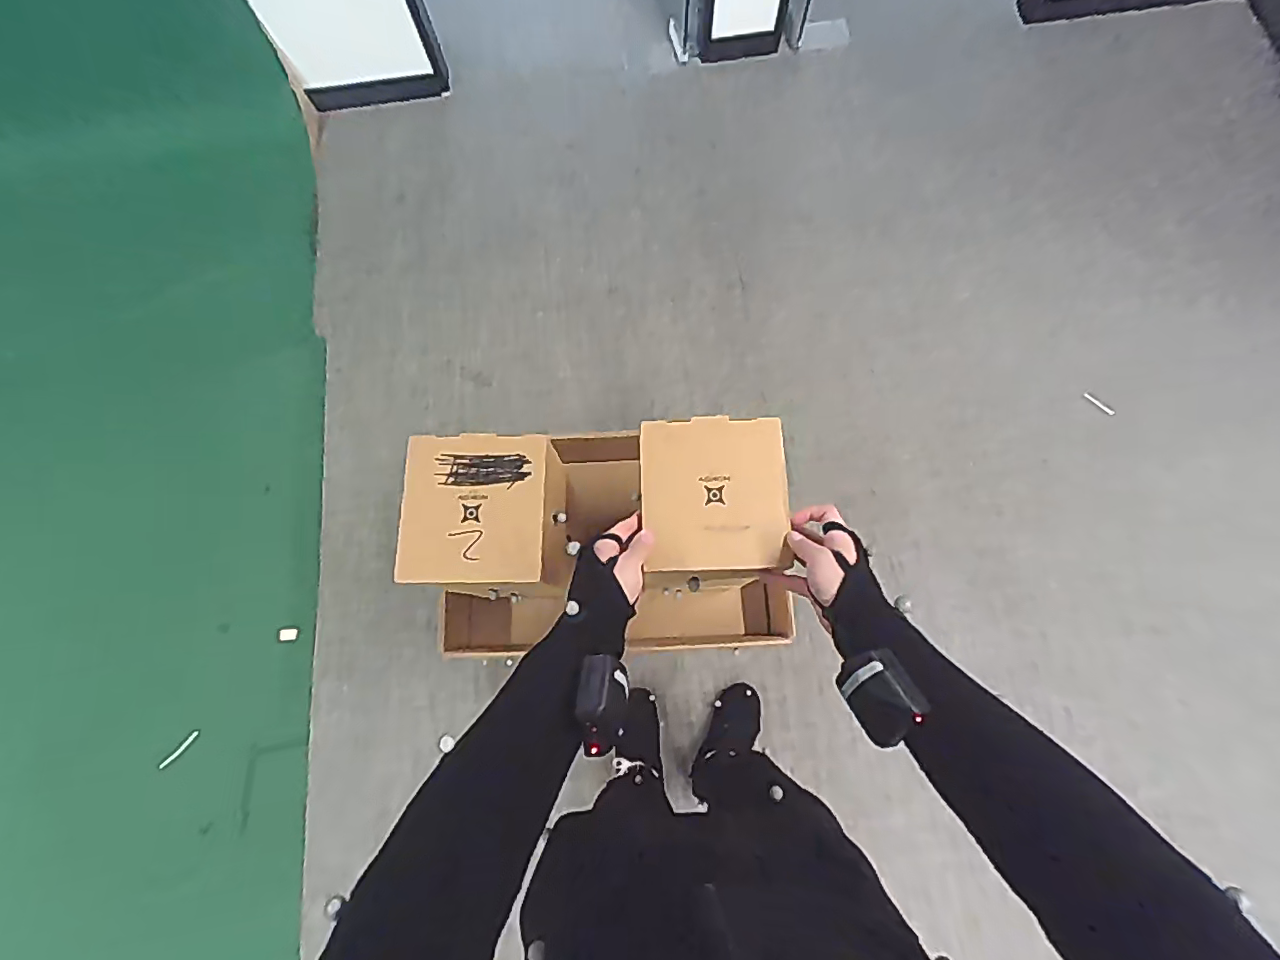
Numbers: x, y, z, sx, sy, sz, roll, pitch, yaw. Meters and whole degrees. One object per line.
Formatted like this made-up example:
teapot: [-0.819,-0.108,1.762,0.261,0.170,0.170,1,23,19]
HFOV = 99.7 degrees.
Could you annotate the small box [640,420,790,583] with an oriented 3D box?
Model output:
small box: [0.083,0.035,0.682,0.168,0.176,0.179,-1,76,2]

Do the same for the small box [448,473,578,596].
small box: [-0.190,0.094,0.859,0.168,0.176,0.179,-1,75,0]

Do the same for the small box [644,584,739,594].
small box: [0.091,0.122,1.014,0.168,0.176,0.179,-2,75,2]
